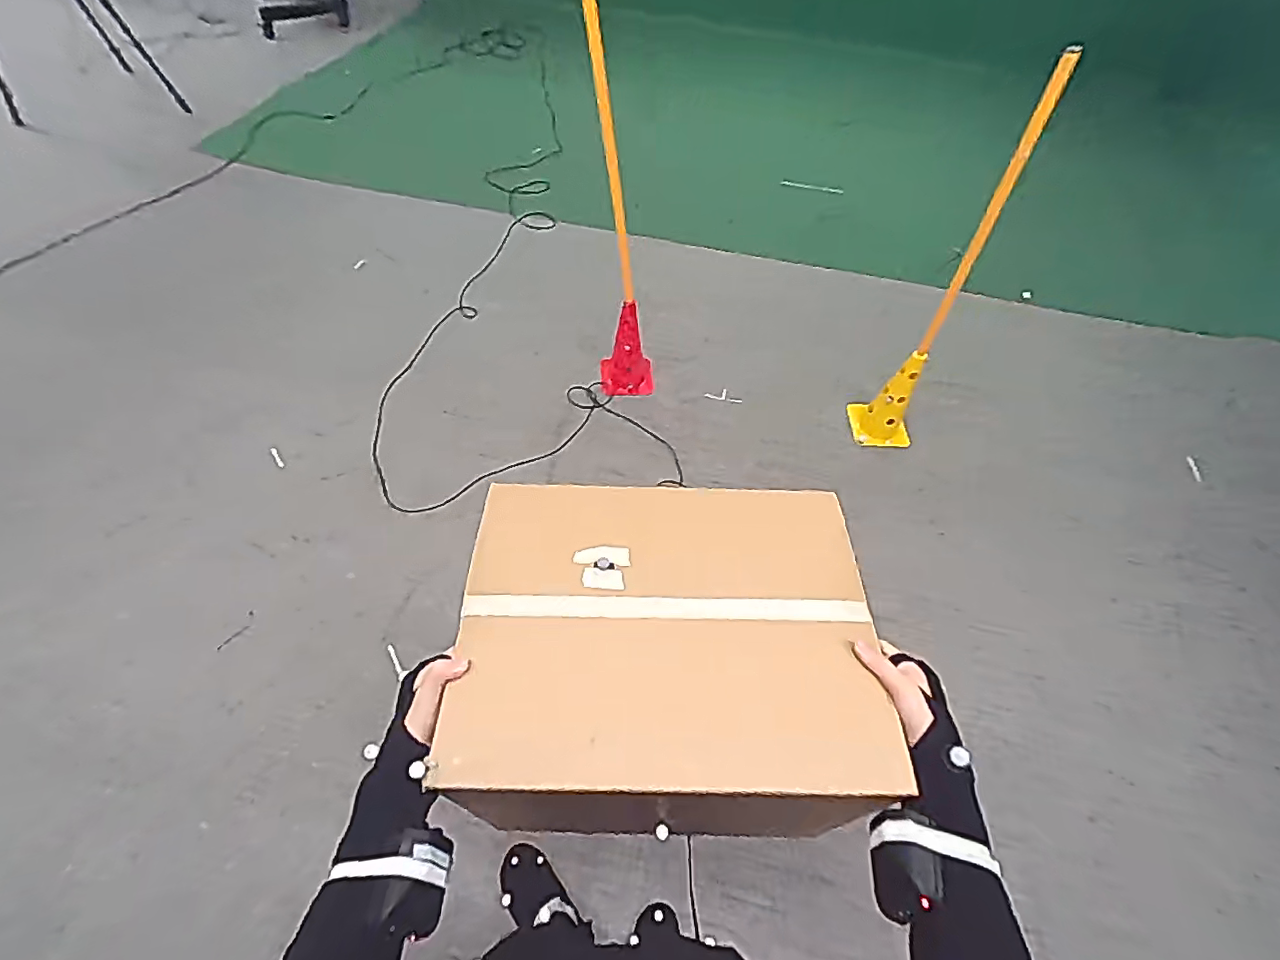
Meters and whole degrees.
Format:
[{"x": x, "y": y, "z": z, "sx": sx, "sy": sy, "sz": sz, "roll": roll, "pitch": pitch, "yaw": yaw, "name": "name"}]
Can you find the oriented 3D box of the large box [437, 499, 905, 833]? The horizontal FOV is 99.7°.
[{"x": 0.028, "y": 0.237, "z": 0.661, "sx": 0.408, "sy": 0.320, "sz": 0.320, "roll": 1, "pitch": 51, "yaw": 0, "name": "large box"}]
